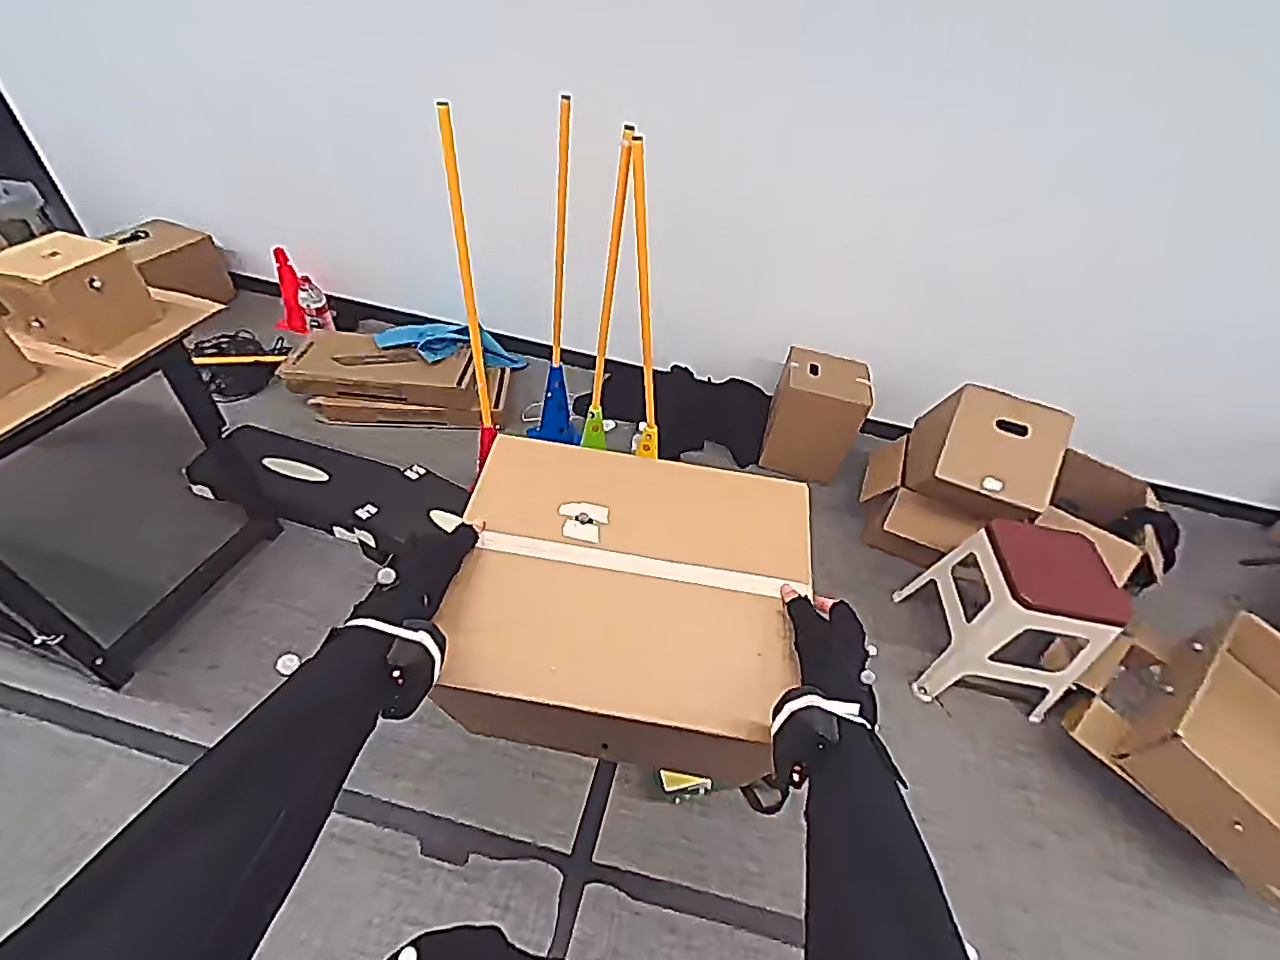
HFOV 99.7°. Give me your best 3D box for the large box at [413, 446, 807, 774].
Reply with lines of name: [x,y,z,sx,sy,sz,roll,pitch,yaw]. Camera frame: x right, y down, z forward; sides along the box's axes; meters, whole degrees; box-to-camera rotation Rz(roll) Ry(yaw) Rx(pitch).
large box: [-0.019,0.190,0.741,0.408,0.320,0.320,9,54,2]
